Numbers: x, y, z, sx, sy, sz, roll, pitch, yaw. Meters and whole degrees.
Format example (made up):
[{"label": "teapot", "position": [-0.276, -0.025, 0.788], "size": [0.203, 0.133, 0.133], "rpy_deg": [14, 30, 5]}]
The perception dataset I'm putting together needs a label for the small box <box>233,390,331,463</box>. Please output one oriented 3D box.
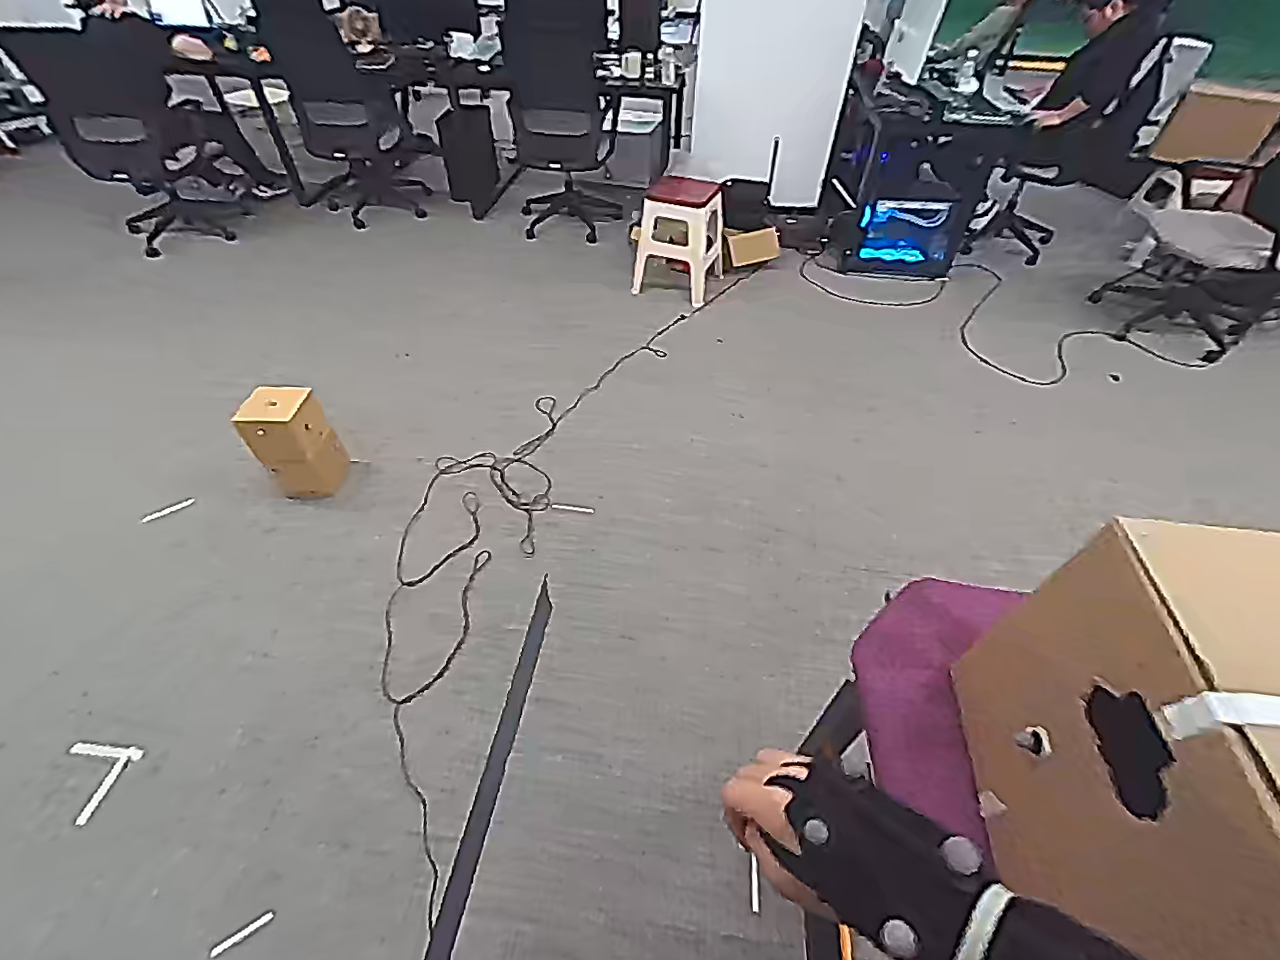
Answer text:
[{"label": "small box", "position": [-1.111, -0.165, 1.698], "size": [0.179, 0.176, 0.168], "rpy_deg": [0, 46, 0]}]
